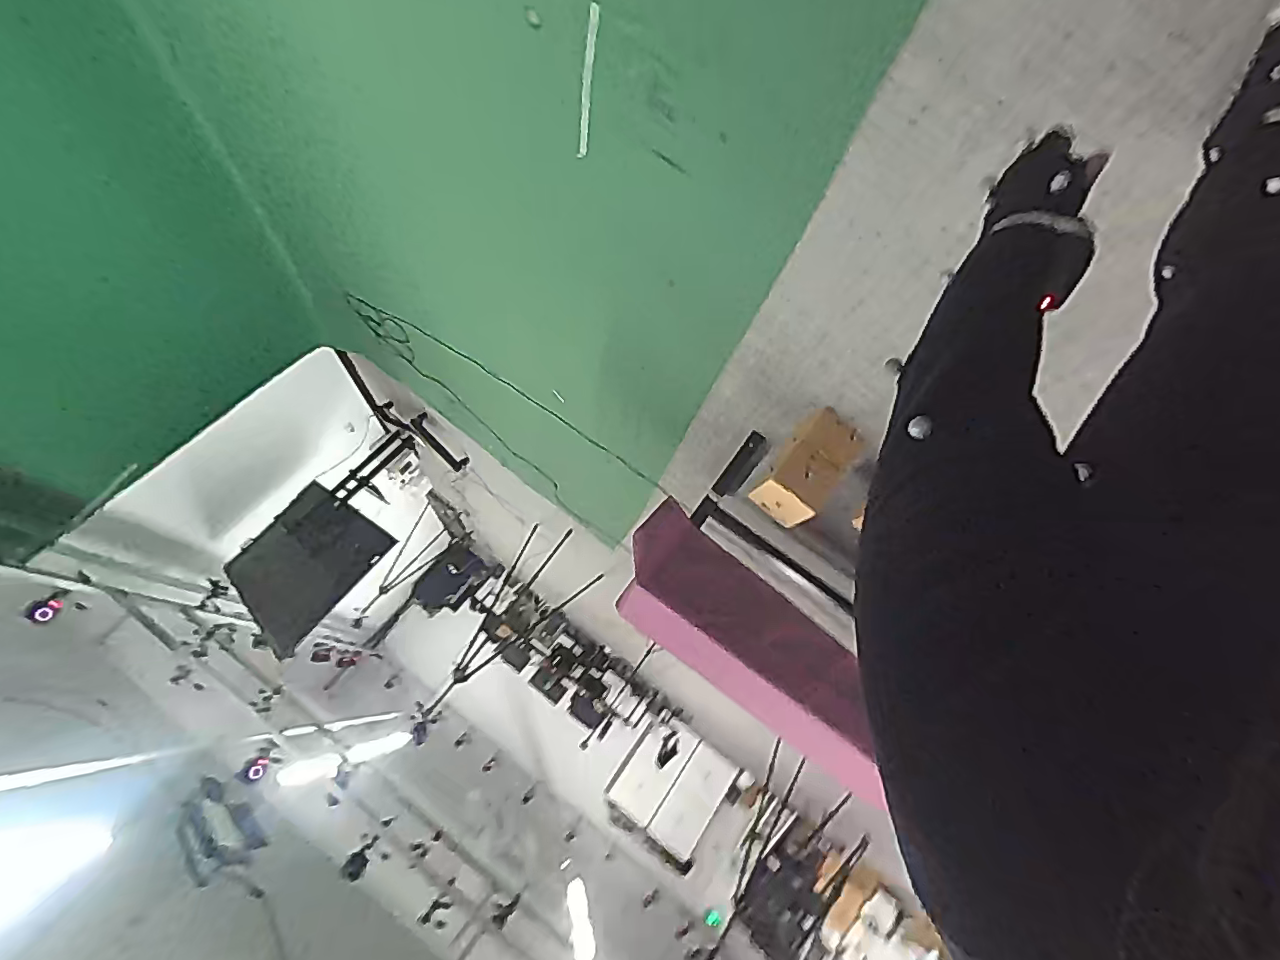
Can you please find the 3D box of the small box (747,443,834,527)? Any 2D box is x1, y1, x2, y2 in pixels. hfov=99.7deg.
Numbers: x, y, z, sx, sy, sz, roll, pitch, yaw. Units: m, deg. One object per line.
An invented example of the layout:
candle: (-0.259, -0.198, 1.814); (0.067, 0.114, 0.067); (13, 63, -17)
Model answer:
small box: (0.467, 0.014, 1.662); (0.168, 0.176, 0.179); (40, 156, 1)

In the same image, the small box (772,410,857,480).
small box: (0.566, -0.097, 1.733); (0.168, 0.176, 0.179); (42, 158, -3)
